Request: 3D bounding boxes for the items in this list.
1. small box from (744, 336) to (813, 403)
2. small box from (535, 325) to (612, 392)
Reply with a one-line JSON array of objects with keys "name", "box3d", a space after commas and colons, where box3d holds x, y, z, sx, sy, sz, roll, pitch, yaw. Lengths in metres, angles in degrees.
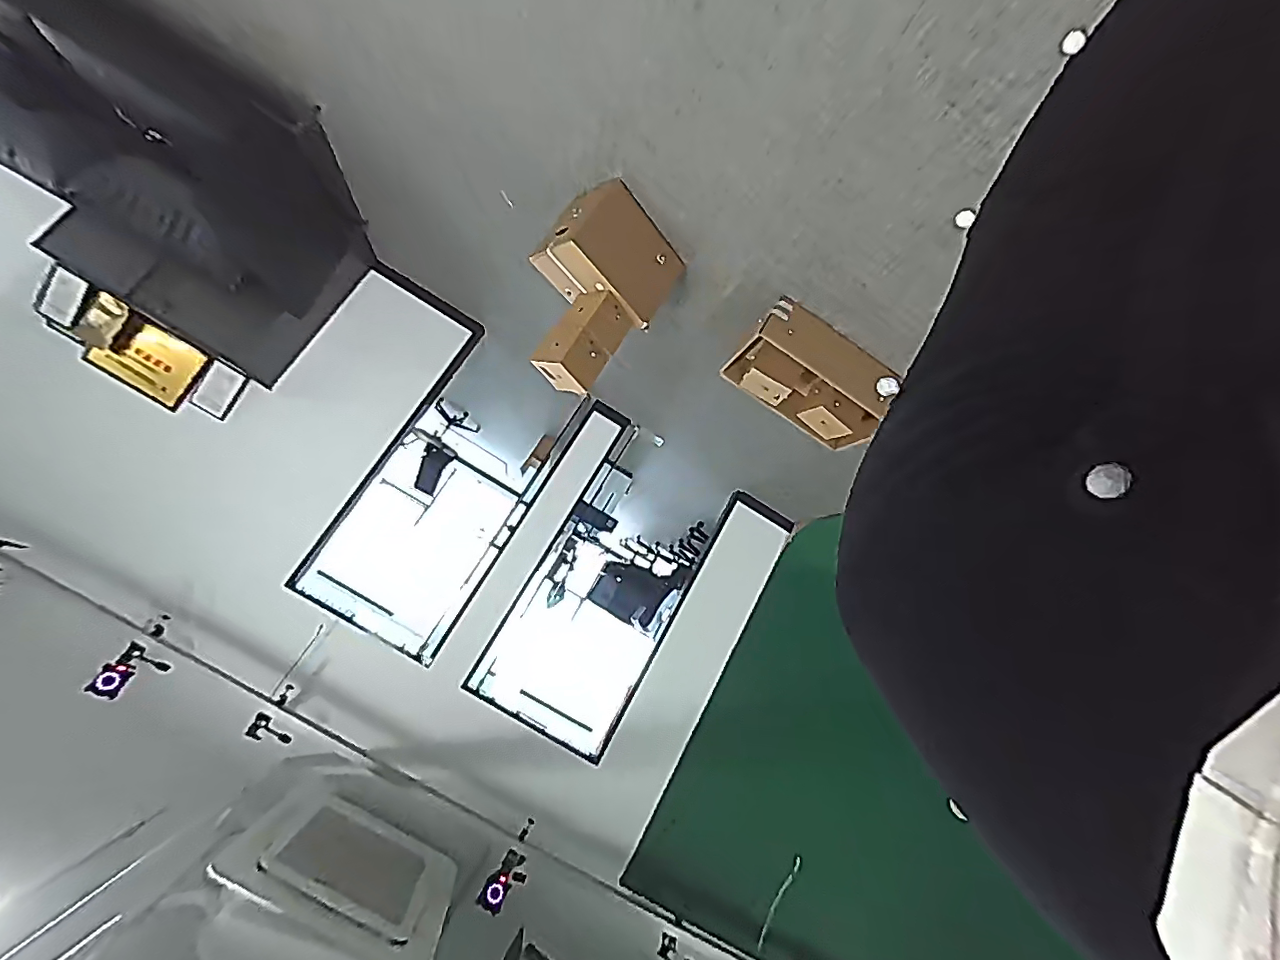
[{"name": "small box", "box3d": [0.540, -0.437, 2.110, 0.179, 0.176, 0.168, 31, 165, -1]}, {"name": "small box", "box3d": [-0.234, -0.440, 1.937, 0.179, 0.176, 0.168, 15, 158, 42]}]
